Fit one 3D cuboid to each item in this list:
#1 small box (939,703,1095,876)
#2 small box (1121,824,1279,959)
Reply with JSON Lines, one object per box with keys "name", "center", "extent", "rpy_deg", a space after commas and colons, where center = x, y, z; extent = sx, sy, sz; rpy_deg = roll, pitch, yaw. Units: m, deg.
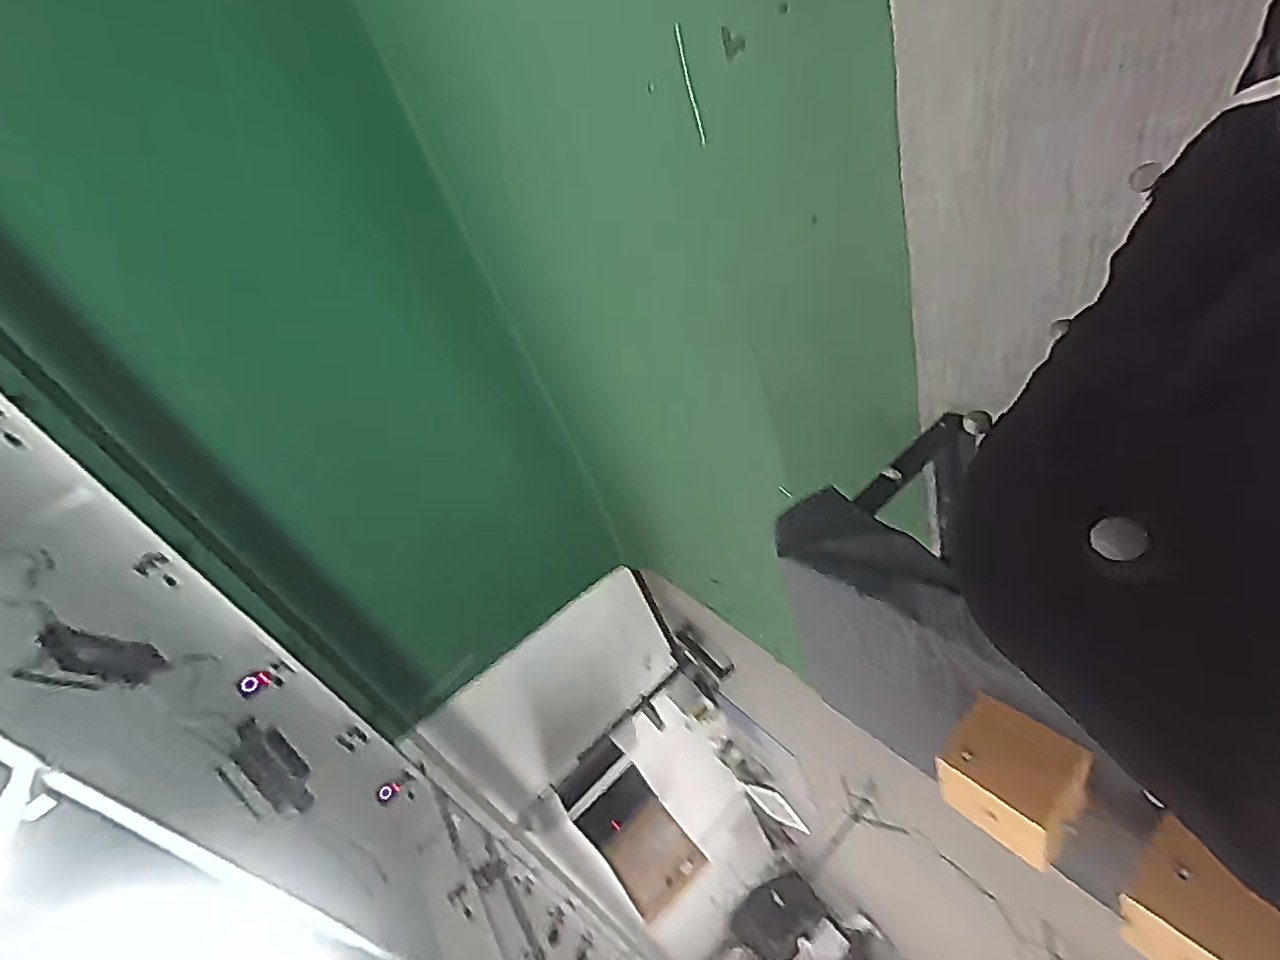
{"name": "small box", "center": [0.671, 0.539, 0.965], "extent": [0.179, 0.176, 0.168], "rpy_deg": [26, 146, 53]}
{"name": "small box", "center": [0.828, 0.630, 0.763], "extent": [0.179, 0.176, 0.168], "rpy_deg": [22, 144, 54]}
